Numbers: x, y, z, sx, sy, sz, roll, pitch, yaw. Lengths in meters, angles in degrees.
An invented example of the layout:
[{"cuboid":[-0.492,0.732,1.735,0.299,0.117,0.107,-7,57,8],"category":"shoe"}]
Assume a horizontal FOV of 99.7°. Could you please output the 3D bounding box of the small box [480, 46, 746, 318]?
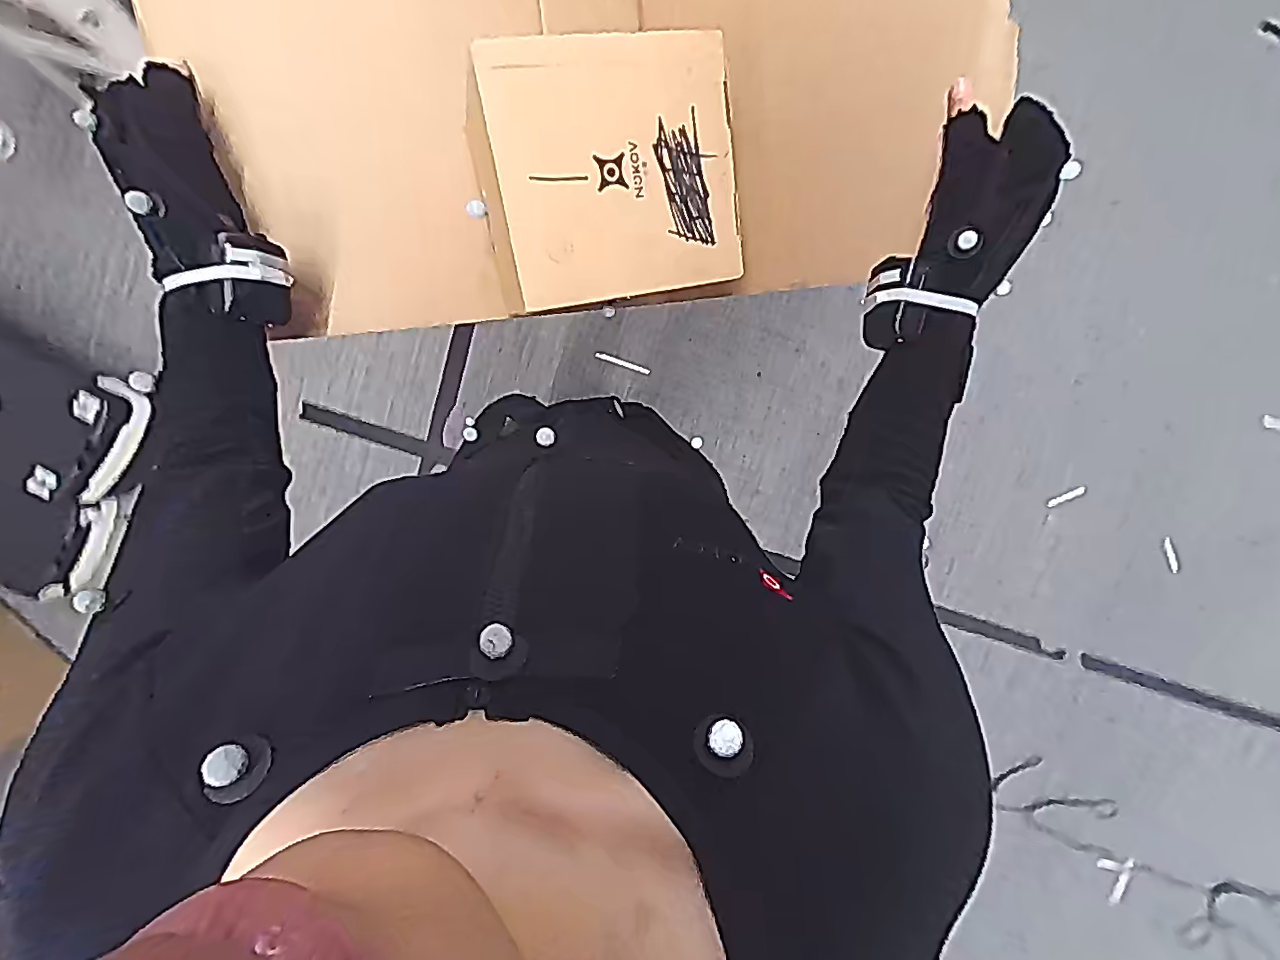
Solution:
[{"cuboid":[-0.030,-0.235,0.459,0.179,0.176,0.168,-13,109,-14],"category":"small box"}]
